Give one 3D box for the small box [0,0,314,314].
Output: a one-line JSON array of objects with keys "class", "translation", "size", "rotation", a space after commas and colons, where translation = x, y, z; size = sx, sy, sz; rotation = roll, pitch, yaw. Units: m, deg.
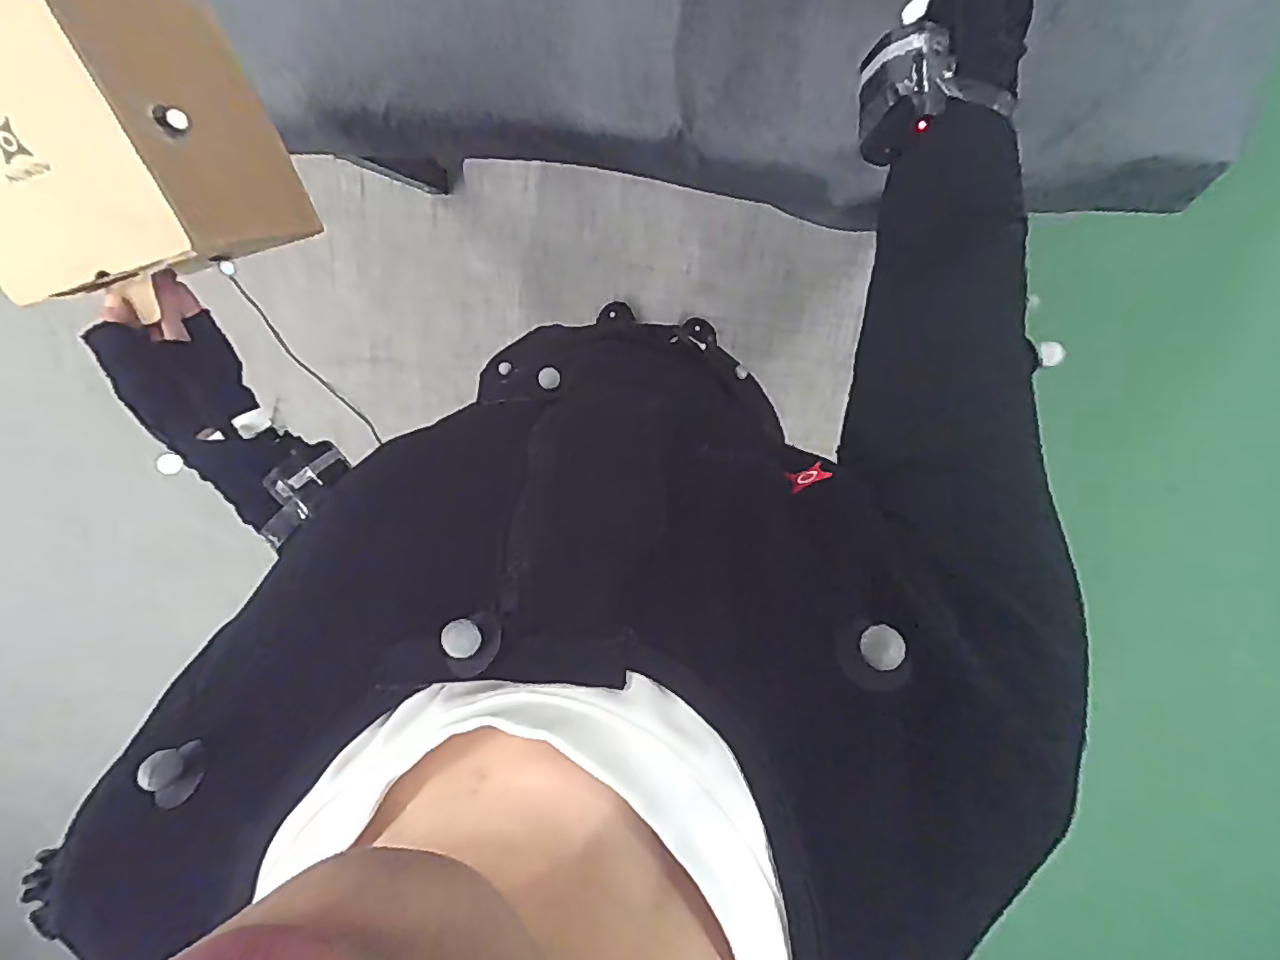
[{"class": "small box", "translation": [-0.405, -0.252, 0.423], "size": [0.168, 0.176, 0.179], "rotation": [-12, 117, 9]}]
